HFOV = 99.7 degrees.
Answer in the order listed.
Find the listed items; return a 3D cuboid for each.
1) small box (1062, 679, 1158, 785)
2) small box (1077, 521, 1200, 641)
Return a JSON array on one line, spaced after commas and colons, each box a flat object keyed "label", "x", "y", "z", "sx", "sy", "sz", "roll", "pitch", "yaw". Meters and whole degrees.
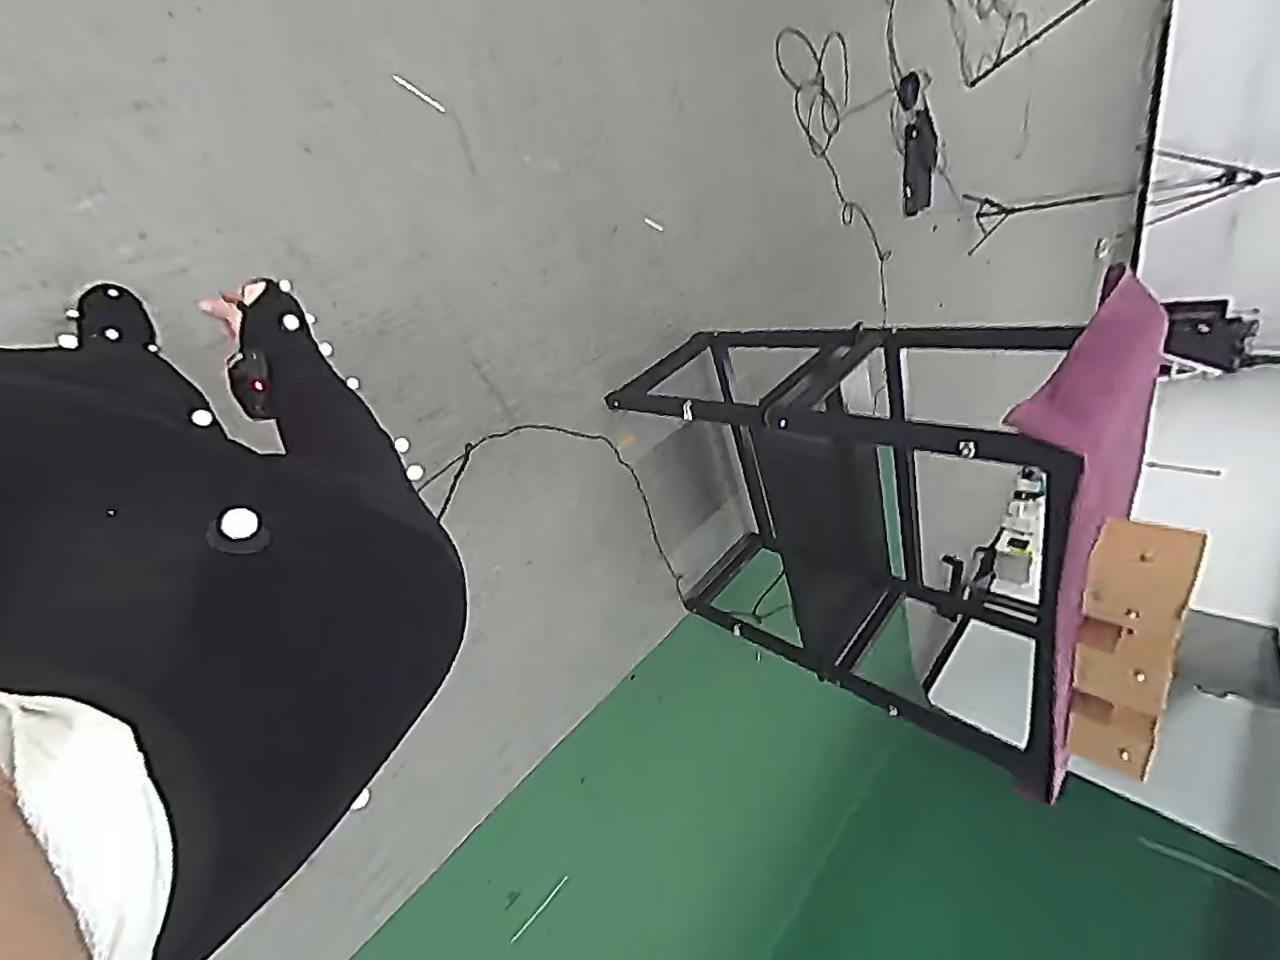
[{"label": "small box", "x": 1.264, "y": 0.667, "z": 1.460, "sx": 0.168, "sy": 0.176, "sz": 0.179, "roll": -39, "pitch": 124, "yaw": -31}, {"label": "small box", "x": 1.092, "y": 0.215, "z": 1.193, "sx": 0.179, "sy": 0.176, "sz": 0.168, "roll": -38, "pitch": 124, "yaw": -32}]
